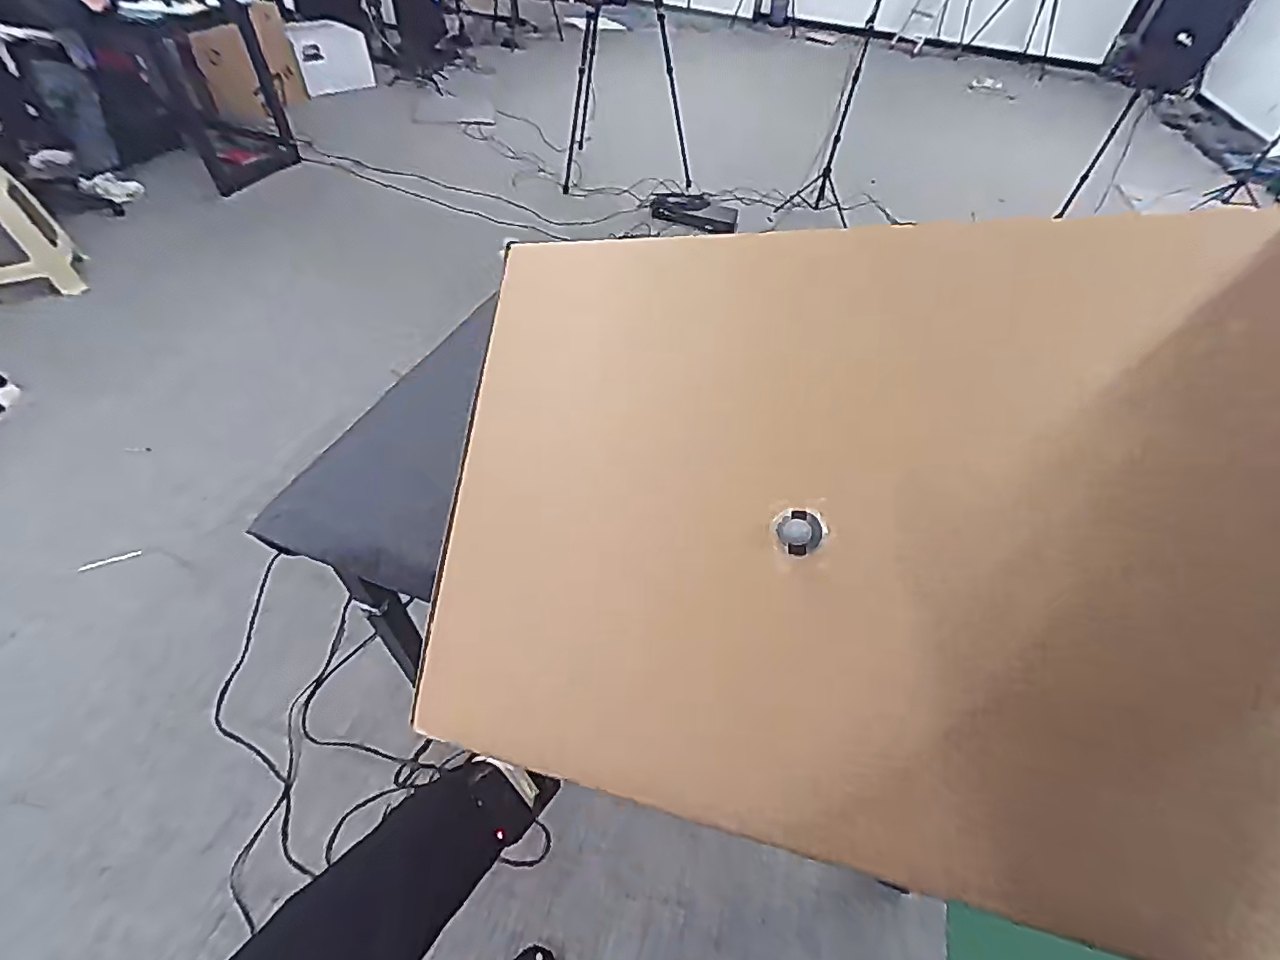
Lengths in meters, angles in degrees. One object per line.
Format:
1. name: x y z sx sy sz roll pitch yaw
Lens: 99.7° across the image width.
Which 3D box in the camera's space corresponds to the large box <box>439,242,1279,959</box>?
1. large box: 0.126 0.051 0.418 0.408 0.320 0.320 5 80 18
